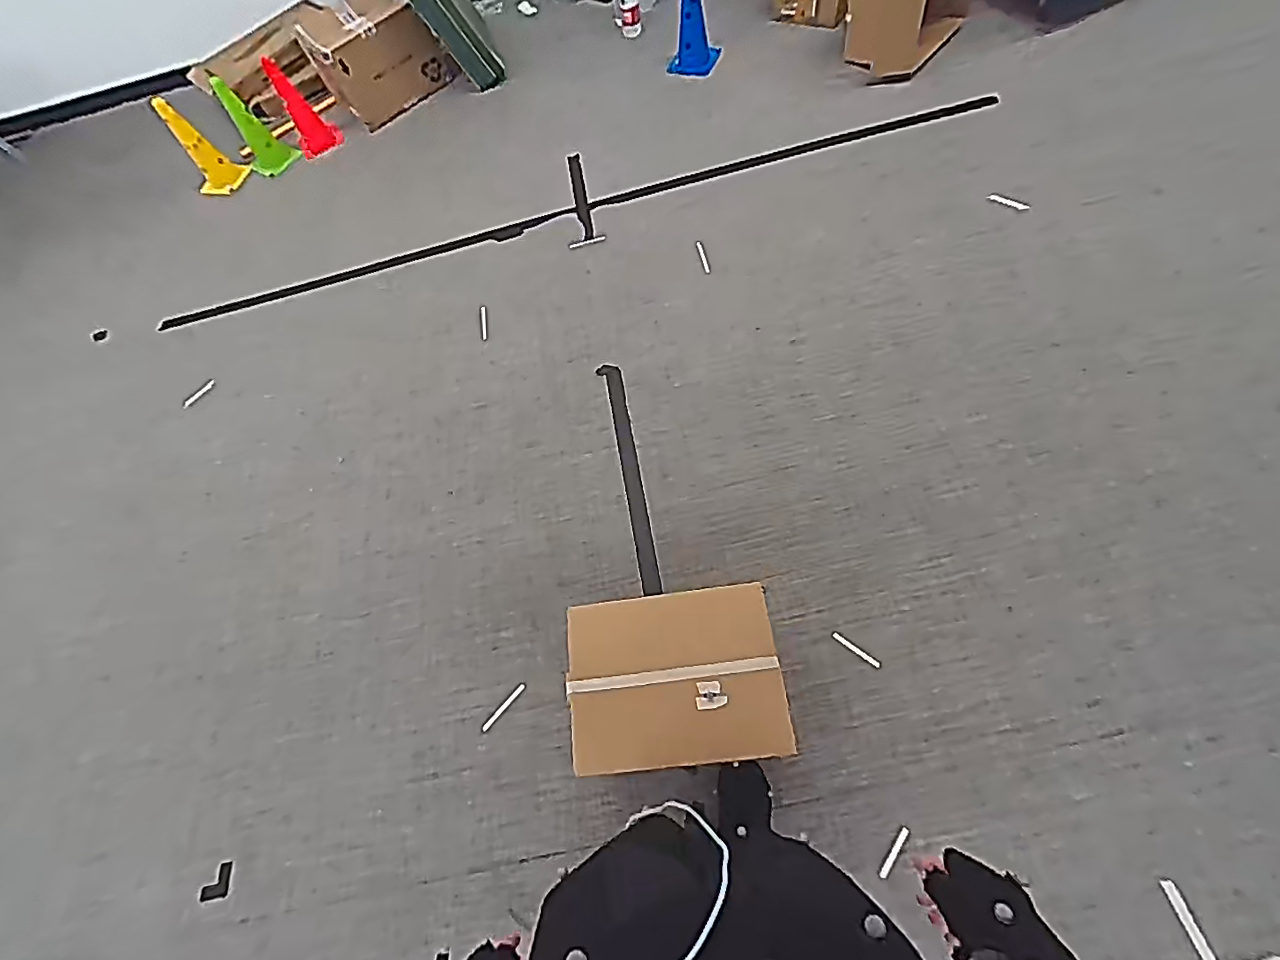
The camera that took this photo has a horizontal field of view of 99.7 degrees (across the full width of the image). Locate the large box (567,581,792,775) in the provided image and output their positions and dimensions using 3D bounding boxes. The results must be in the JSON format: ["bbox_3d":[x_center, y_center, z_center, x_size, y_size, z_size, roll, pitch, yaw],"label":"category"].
[{"bbox_3d":[0.078,0.433,1.163,0.408,0.320,0.320,-8,64,4],"label":"large box"}]
